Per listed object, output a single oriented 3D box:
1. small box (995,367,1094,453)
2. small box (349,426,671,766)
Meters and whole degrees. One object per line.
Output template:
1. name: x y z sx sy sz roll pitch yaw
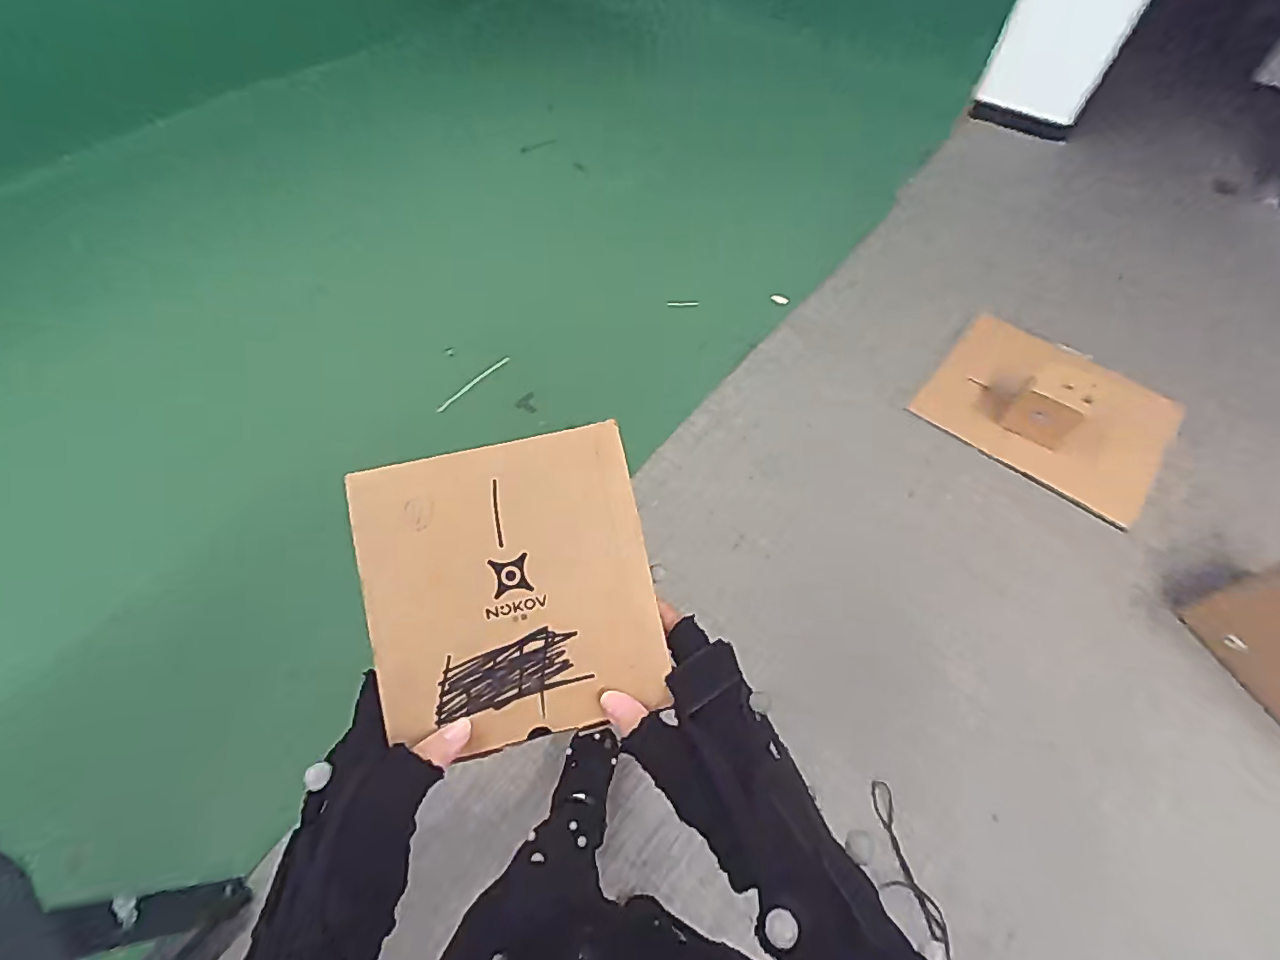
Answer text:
1. small box: 1.253 -0.213 1.684 0.179 0.176 0.168 31 61 20
2. small box: -0.082 0.074 0.407 0.168 0.176 0.179 -14 85 -4
